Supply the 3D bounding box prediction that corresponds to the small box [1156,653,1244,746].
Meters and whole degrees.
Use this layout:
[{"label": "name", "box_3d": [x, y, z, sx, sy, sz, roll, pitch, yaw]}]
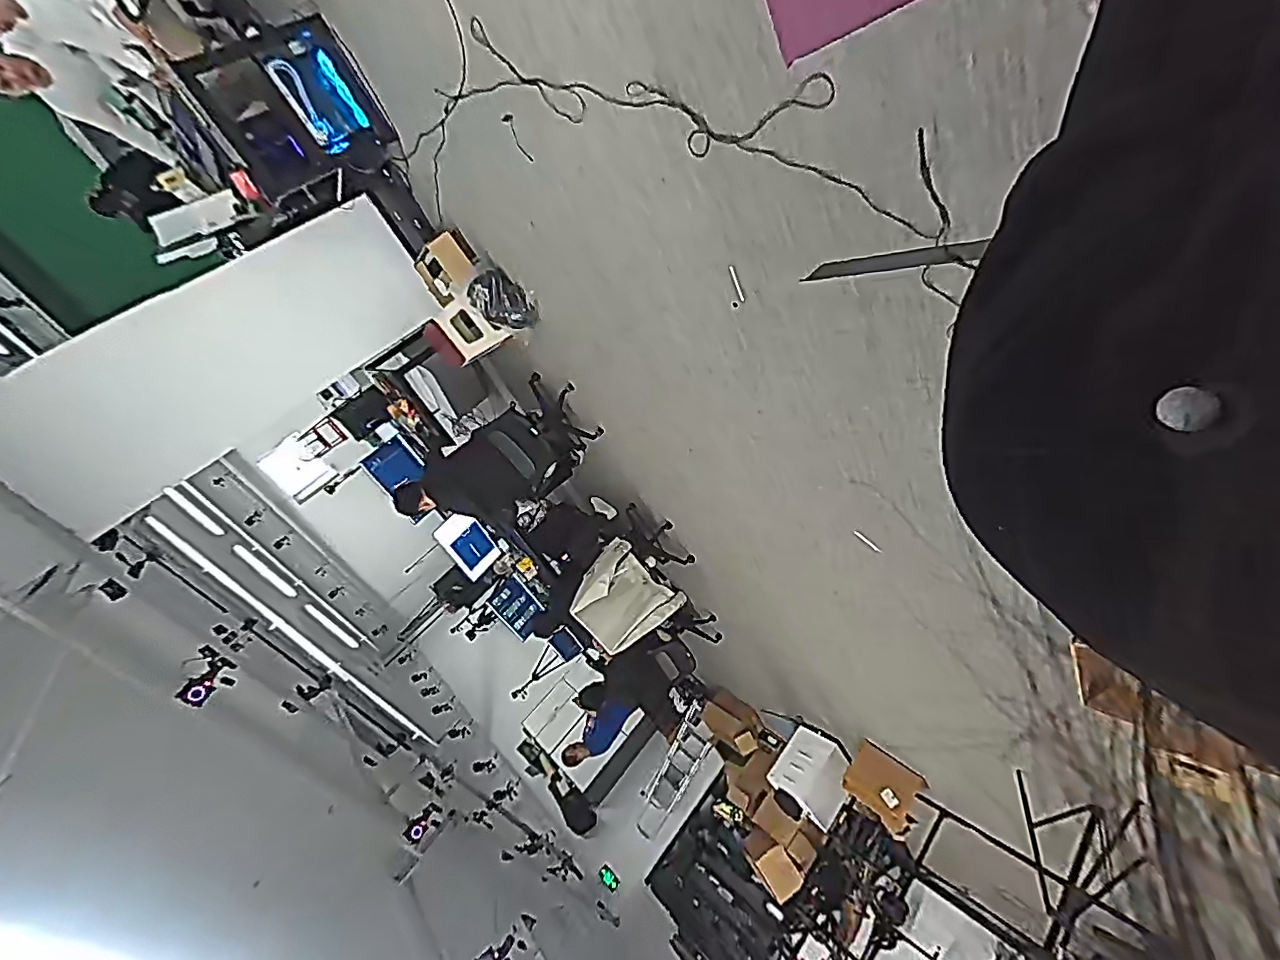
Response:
[{"label": "small box", "box_3d": [1.740, 0.676, 1.678, 0.168, 0.176, 0.179, 8, 138, 54]}]
